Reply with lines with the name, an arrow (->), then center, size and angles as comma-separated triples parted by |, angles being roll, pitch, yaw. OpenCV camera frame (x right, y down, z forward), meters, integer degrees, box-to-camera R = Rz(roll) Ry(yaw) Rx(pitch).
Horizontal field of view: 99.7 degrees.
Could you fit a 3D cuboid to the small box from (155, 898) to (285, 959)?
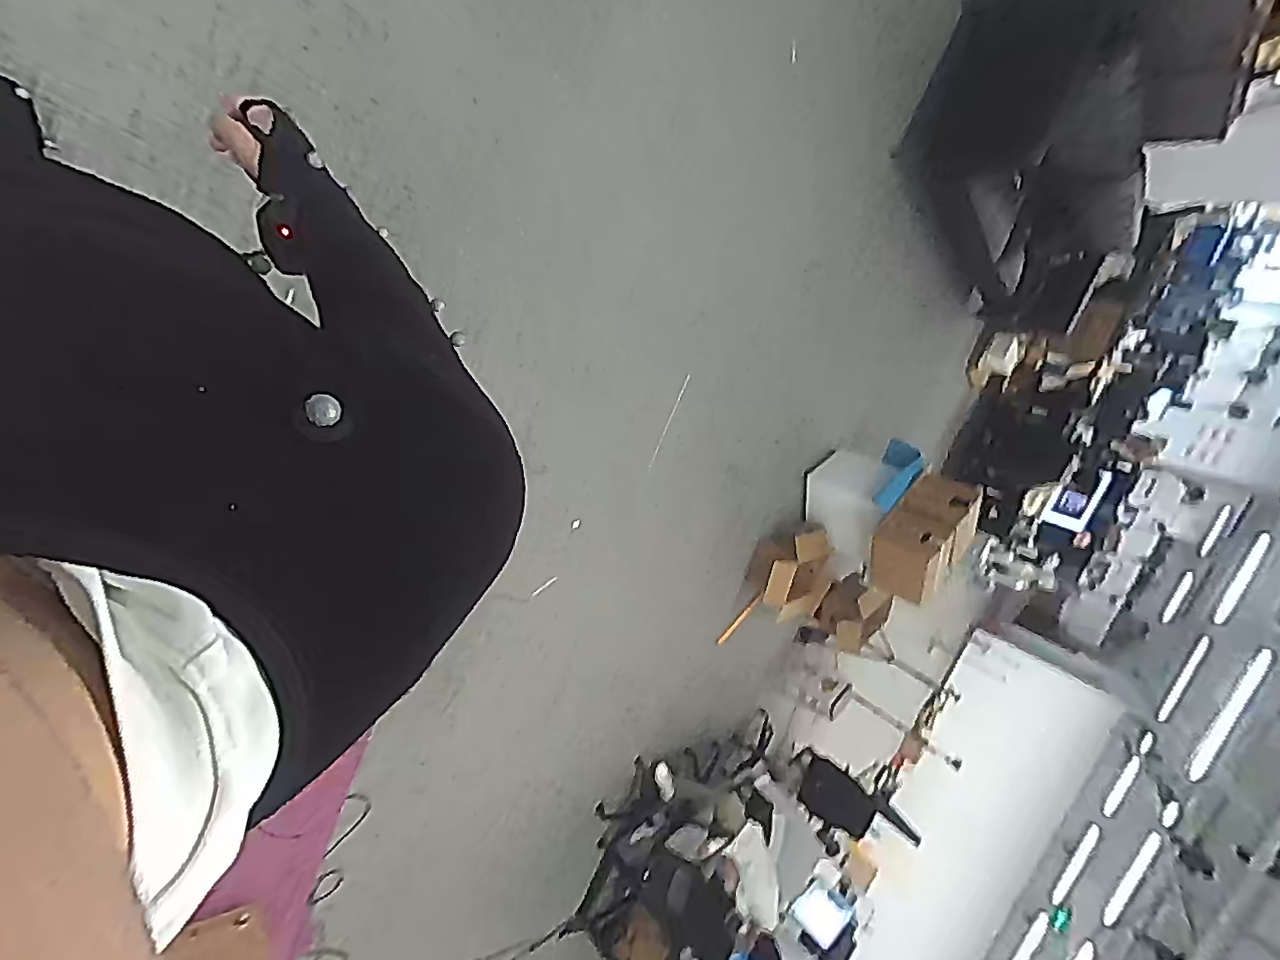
small box -> -0.791, 0.926, 1.001 | 0.168, 0.176, 0.179 | 13, 103, -47
